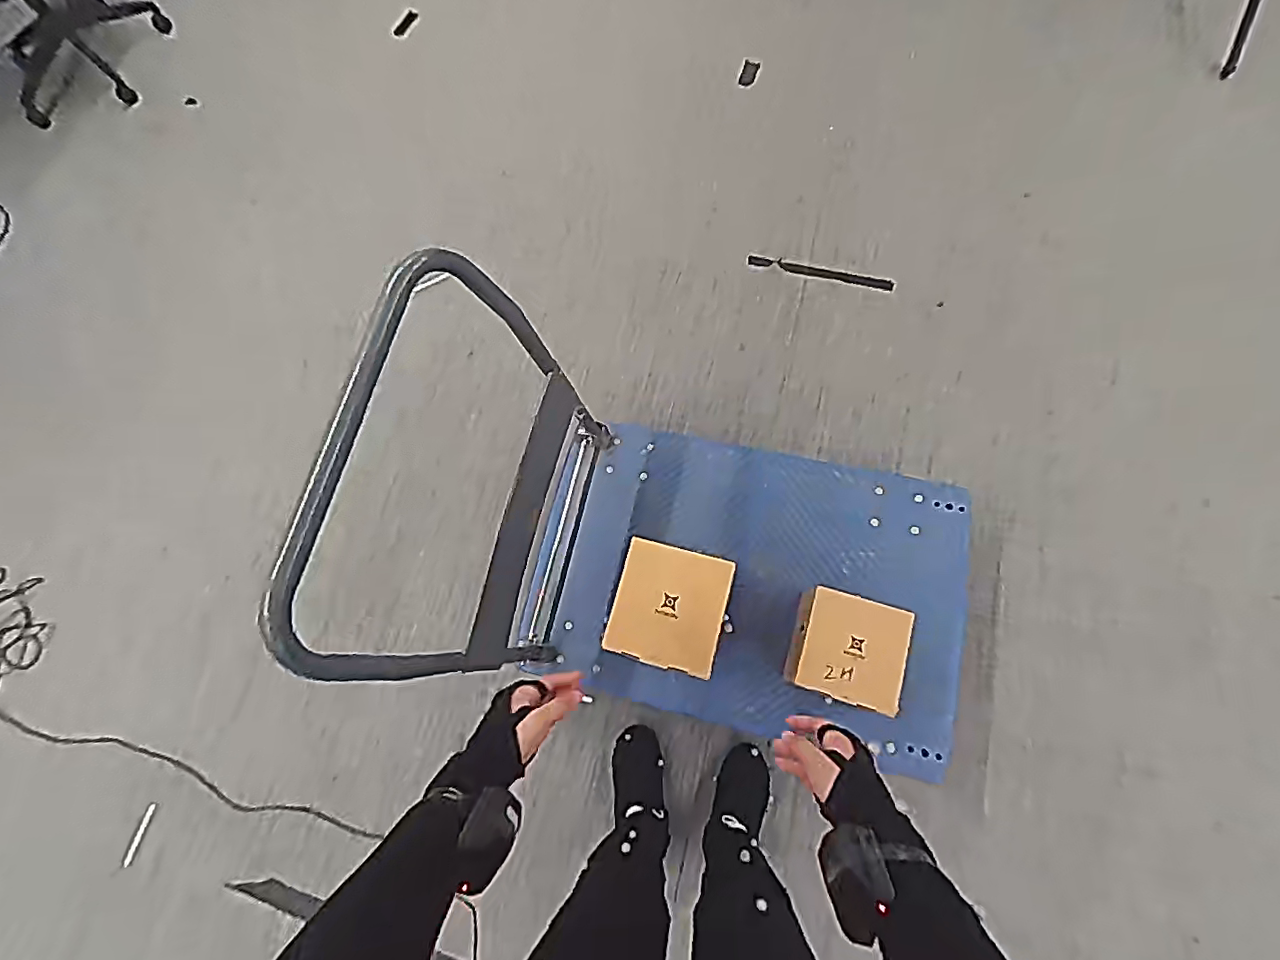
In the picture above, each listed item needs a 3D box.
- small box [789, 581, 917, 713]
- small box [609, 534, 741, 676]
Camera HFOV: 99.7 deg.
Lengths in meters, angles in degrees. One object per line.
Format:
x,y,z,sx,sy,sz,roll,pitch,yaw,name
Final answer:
0.379,0.300,0.987,0.168,0.176,0.179,15,76,12,small box
0.061,0.203,0.885,0.168,0.176,0.179,13,77,10,small box
